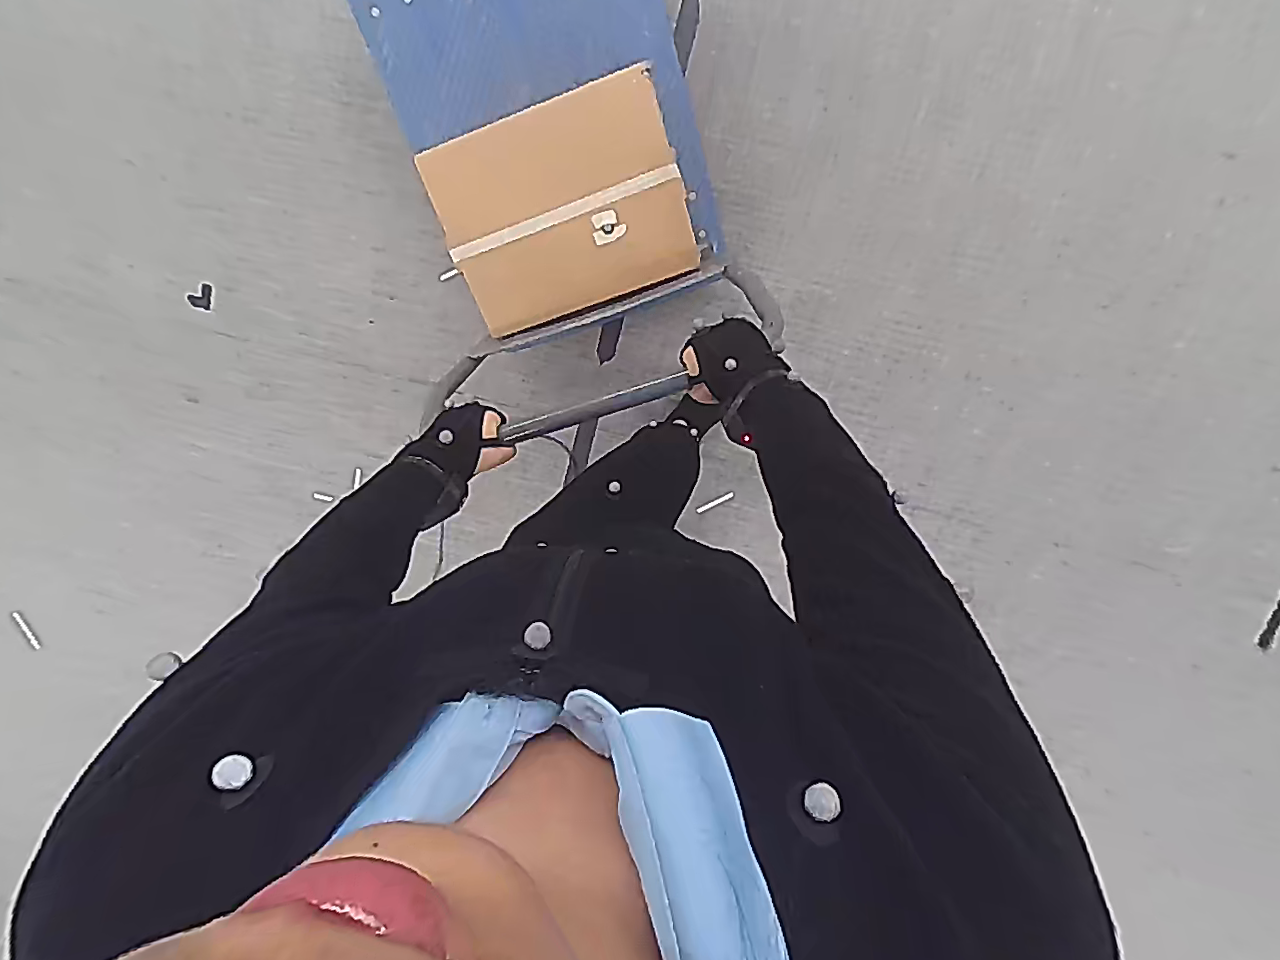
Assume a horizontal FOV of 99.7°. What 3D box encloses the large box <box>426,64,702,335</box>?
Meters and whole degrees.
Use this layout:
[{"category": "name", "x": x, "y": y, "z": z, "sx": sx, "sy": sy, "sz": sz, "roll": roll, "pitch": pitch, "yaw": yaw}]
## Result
[{"category": "large box", "x": -0.127, "y": -0.519, "z": 1.066, "sx": 0.408, "sy": 0.320, "sz": 0.320, "roll": -18, "pitch": 113, "yaw": 7}]
